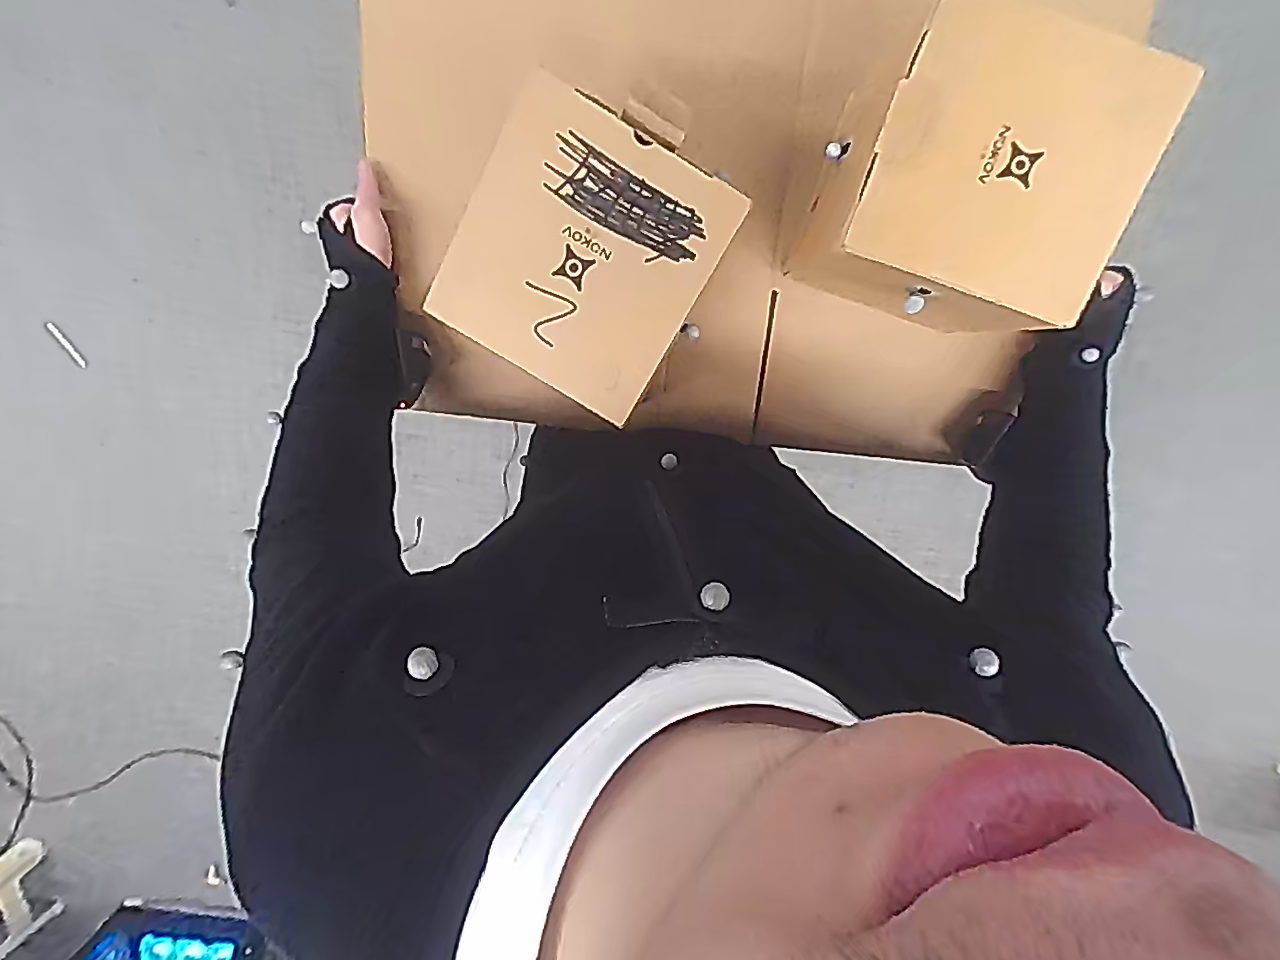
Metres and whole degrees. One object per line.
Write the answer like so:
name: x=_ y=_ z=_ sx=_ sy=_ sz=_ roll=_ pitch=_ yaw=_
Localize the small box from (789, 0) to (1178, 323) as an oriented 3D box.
small box: x=0.246 y=-0.236 z=0.443 sx=0.179 sy=0.176 sz=0.168 roll=18 pitch=104 yaw=-1
